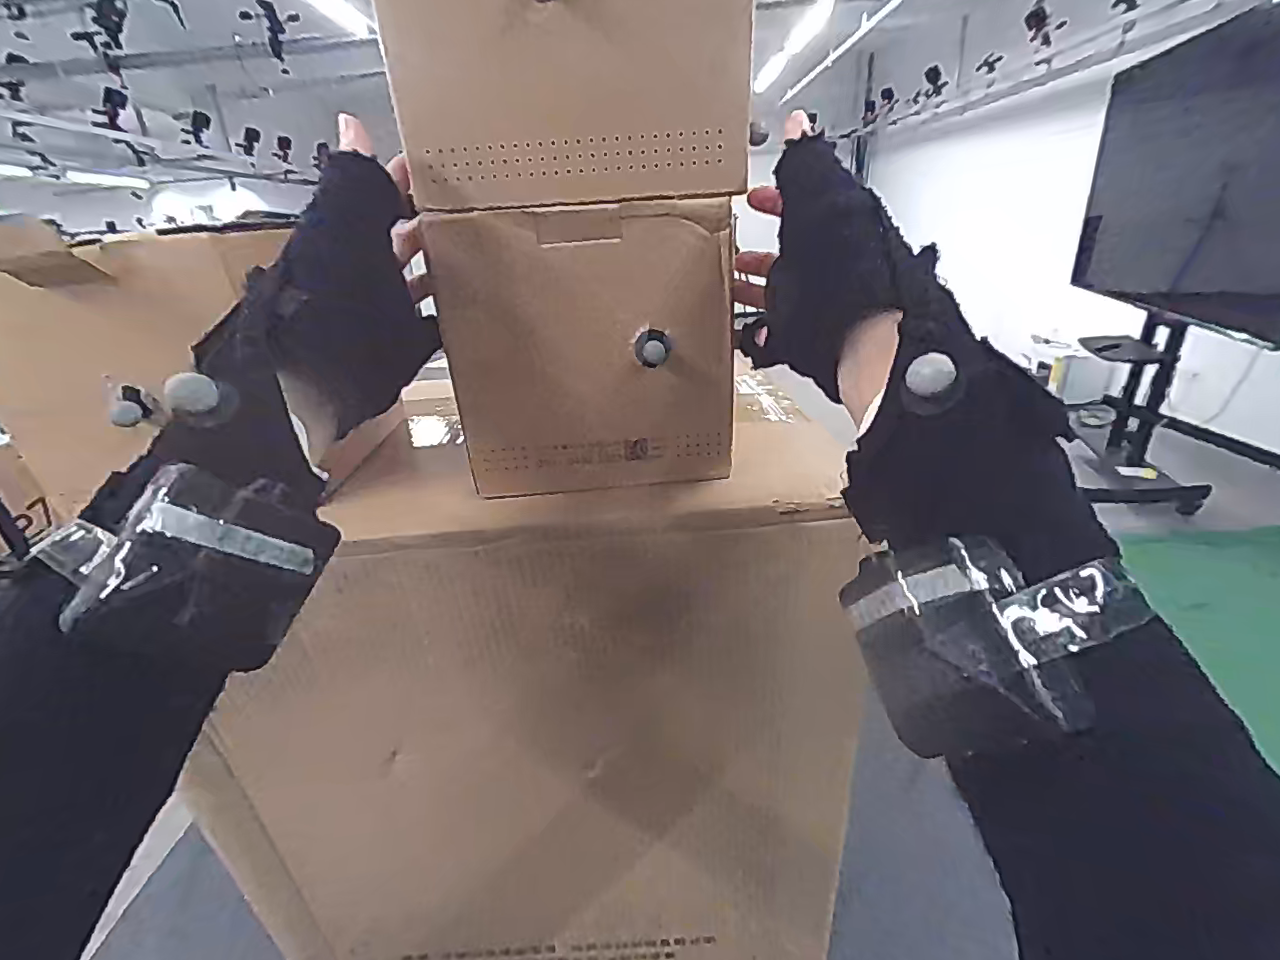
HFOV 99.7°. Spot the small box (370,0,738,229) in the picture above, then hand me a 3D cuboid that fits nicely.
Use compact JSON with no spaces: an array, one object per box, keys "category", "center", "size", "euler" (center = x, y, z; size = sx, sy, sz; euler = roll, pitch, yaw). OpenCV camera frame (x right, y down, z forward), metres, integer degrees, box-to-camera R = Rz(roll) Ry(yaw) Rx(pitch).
[{"category":"small box","center":[-0.035,-0.233,0.331],"size":[0.179,0.176,0.168],"euler":[-2,26,3]}]

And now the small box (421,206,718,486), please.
[{"category":"small box","center":[-0.035,-0.101,0.397],"size":[0.168,0.176,0.179],"euler":[-3,25,-1]}]

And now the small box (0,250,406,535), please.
[{"category":"small box","center":[-0.302,-0.069,0.411],"size":[0.168,0.176,0.179],"euler":[-8,26,-1]}]
